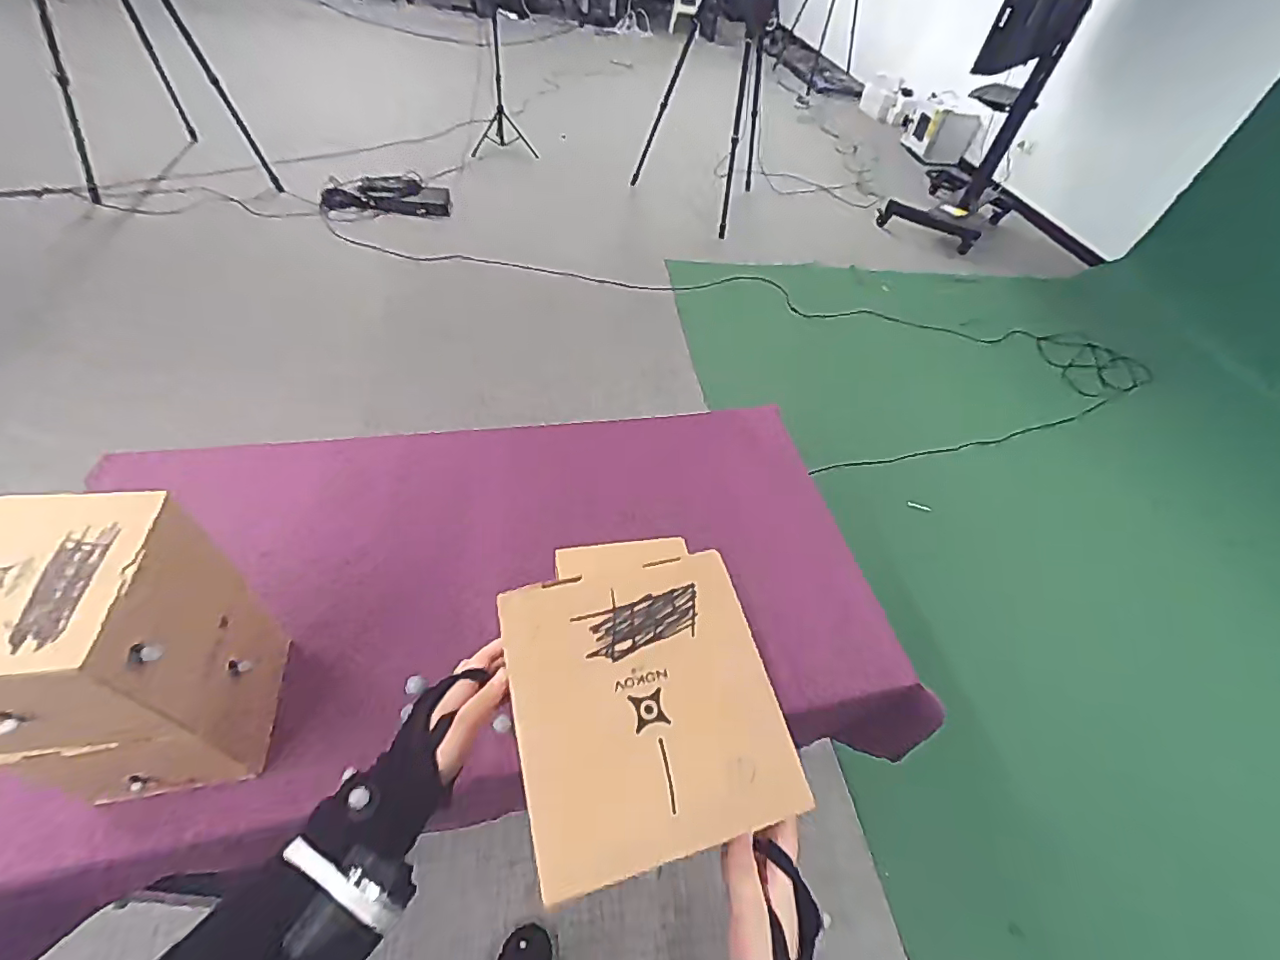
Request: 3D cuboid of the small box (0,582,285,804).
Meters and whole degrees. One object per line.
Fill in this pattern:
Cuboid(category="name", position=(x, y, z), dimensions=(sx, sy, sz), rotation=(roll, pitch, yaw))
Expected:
Cuboid(category="small box", position=(-0.527, 0.237, 0.605), dimensions=(0.168, 0.176, 0.179), rotation=(-4, 52, -13))

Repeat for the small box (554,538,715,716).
Cuboid(category="small box", position=(-0.019, 0.197, 0.721), dimensions=(0.179, 0.176, 0.168), rotation=(-4, 51, -13))
